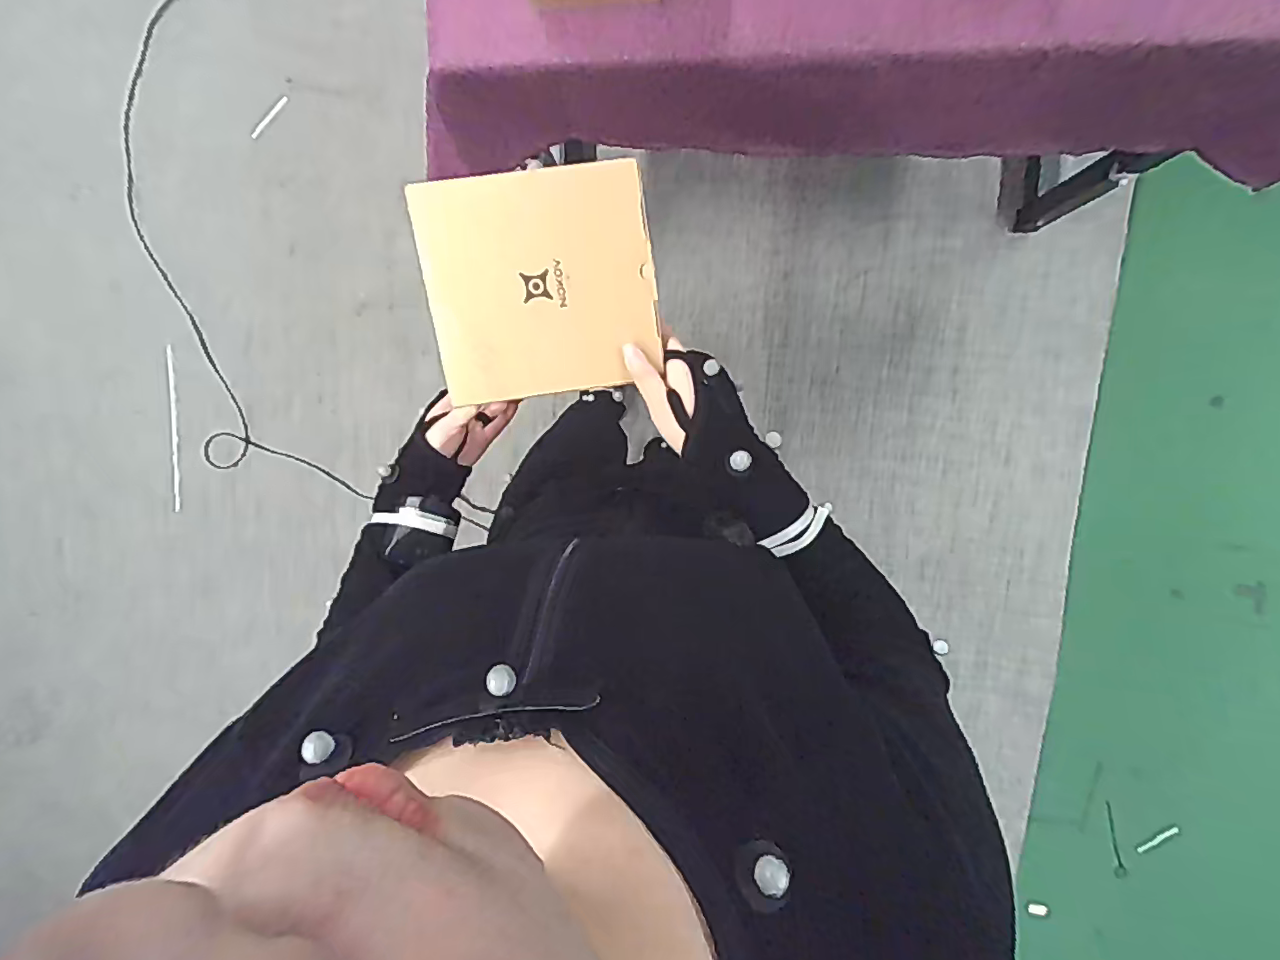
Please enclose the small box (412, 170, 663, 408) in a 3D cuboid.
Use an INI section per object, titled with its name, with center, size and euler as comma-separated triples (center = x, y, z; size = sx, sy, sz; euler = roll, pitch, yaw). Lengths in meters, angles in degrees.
[small box]
center = -0.083, -0.159, 0.501
size = 0.179, 0.176, 0.168
euler = -9, 101, -5
